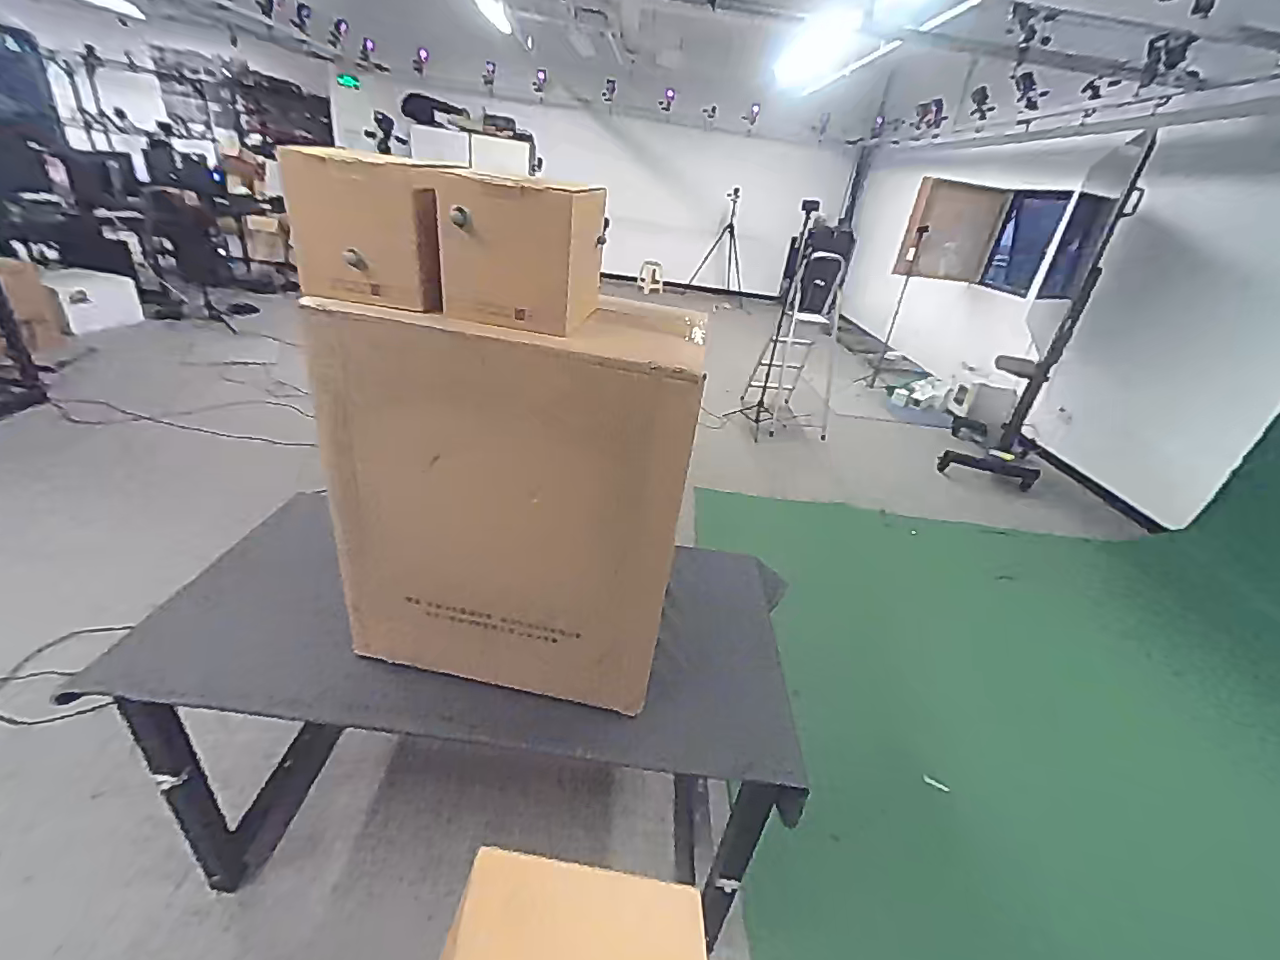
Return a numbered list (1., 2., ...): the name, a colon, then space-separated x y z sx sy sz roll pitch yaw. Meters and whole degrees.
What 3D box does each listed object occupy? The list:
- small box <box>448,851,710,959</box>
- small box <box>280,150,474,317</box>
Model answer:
1. small box: -0.057 0.385 0.338 0.168 0.176 0.179 17 22 -8
2. small box: -0.334 -0.331 0.727 0.168 0.176 0.179 9 30 3
